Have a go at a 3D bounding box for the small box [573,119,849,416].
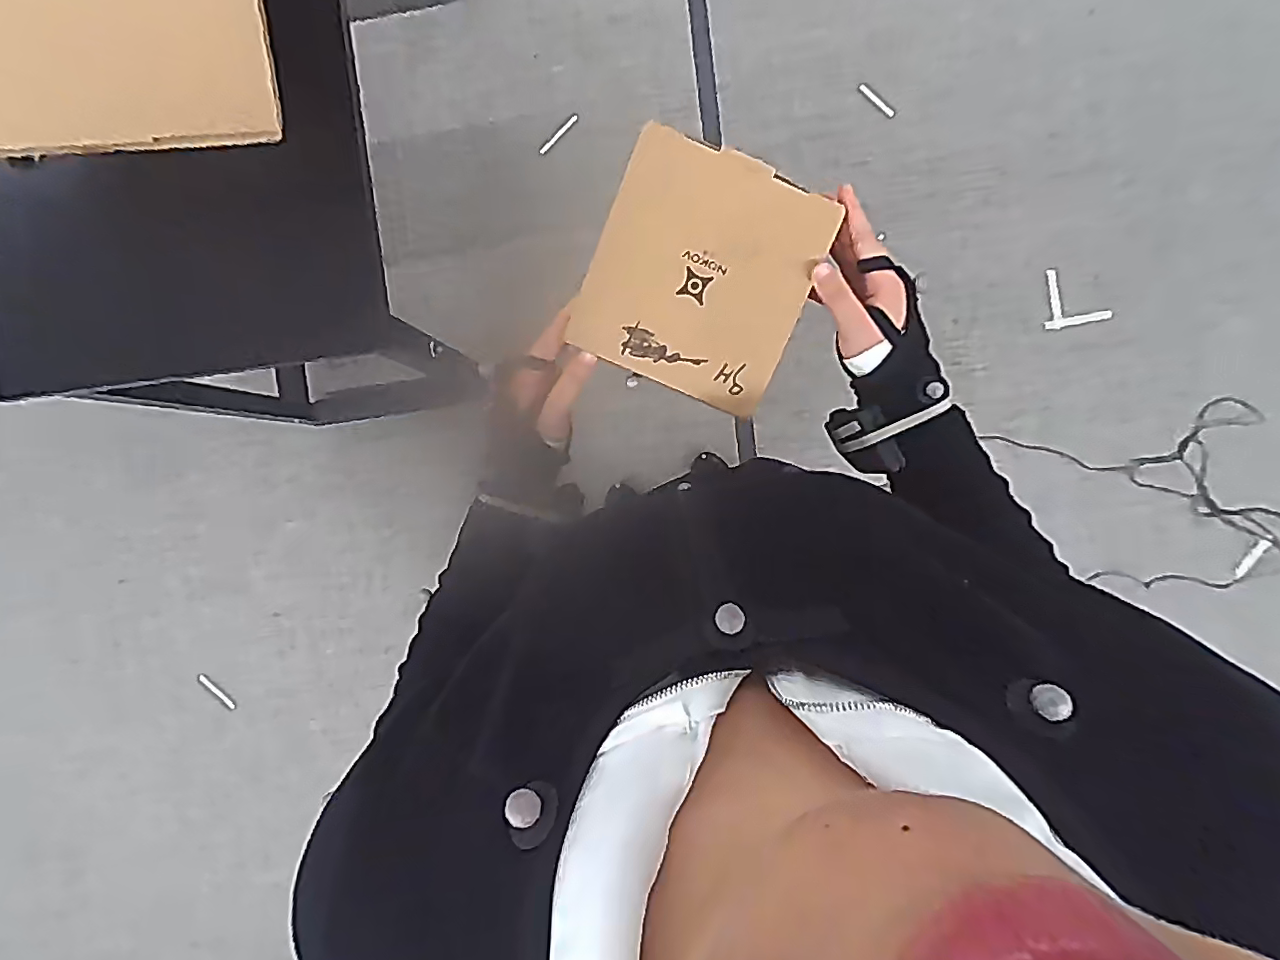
[{"bbox_3d":[0.055,-0.174,0.497,0.168,0.176,0.179,23,100,-1],"label":"small box"}]
